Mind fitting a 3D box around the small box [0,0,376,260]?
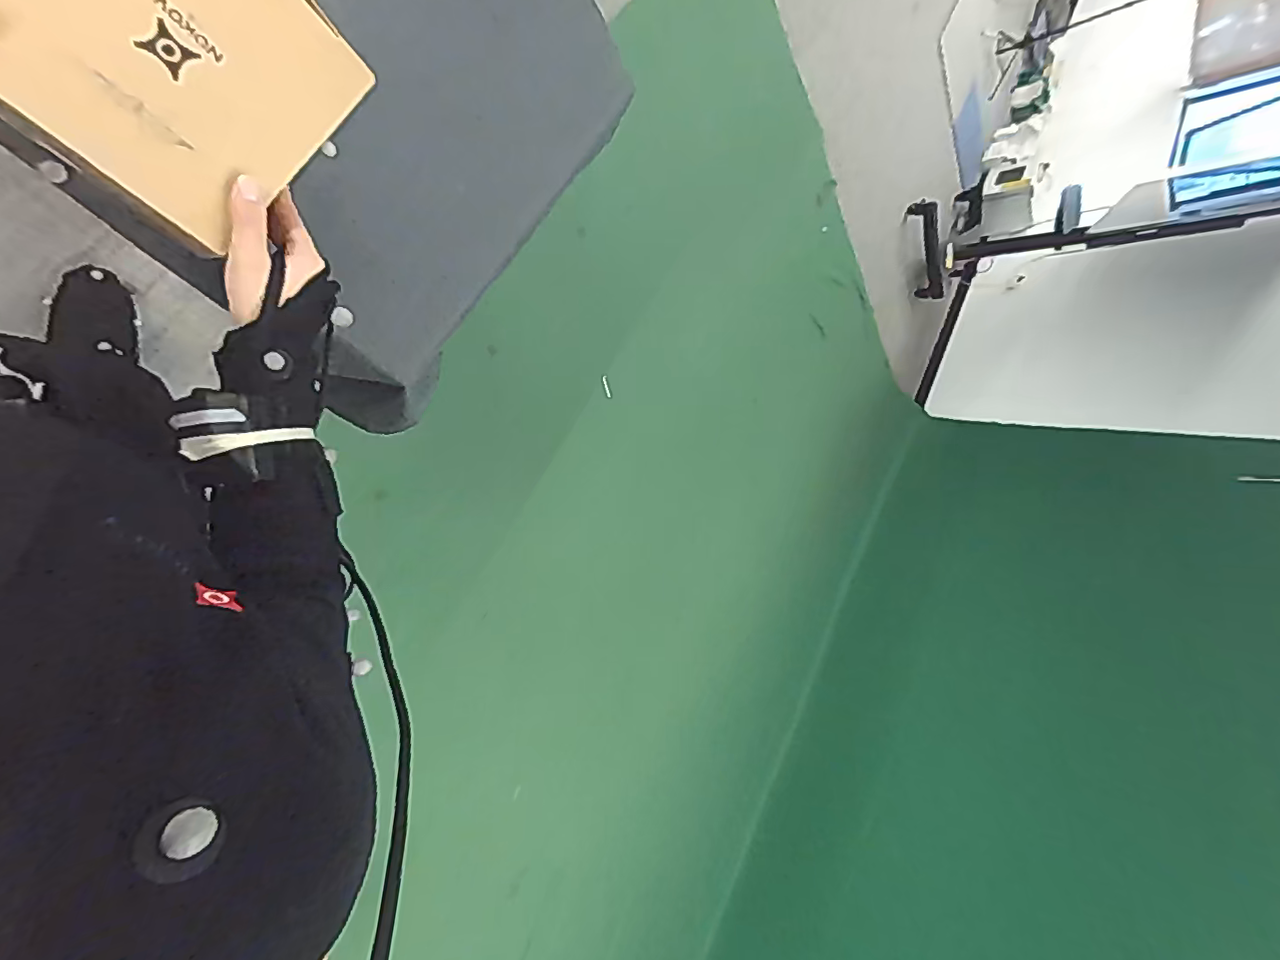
[{"bbox_3d":[-0.332,-0.283,0.381,0.179,0.176,0.168,-57,135,-9],"label":"small box"}]
